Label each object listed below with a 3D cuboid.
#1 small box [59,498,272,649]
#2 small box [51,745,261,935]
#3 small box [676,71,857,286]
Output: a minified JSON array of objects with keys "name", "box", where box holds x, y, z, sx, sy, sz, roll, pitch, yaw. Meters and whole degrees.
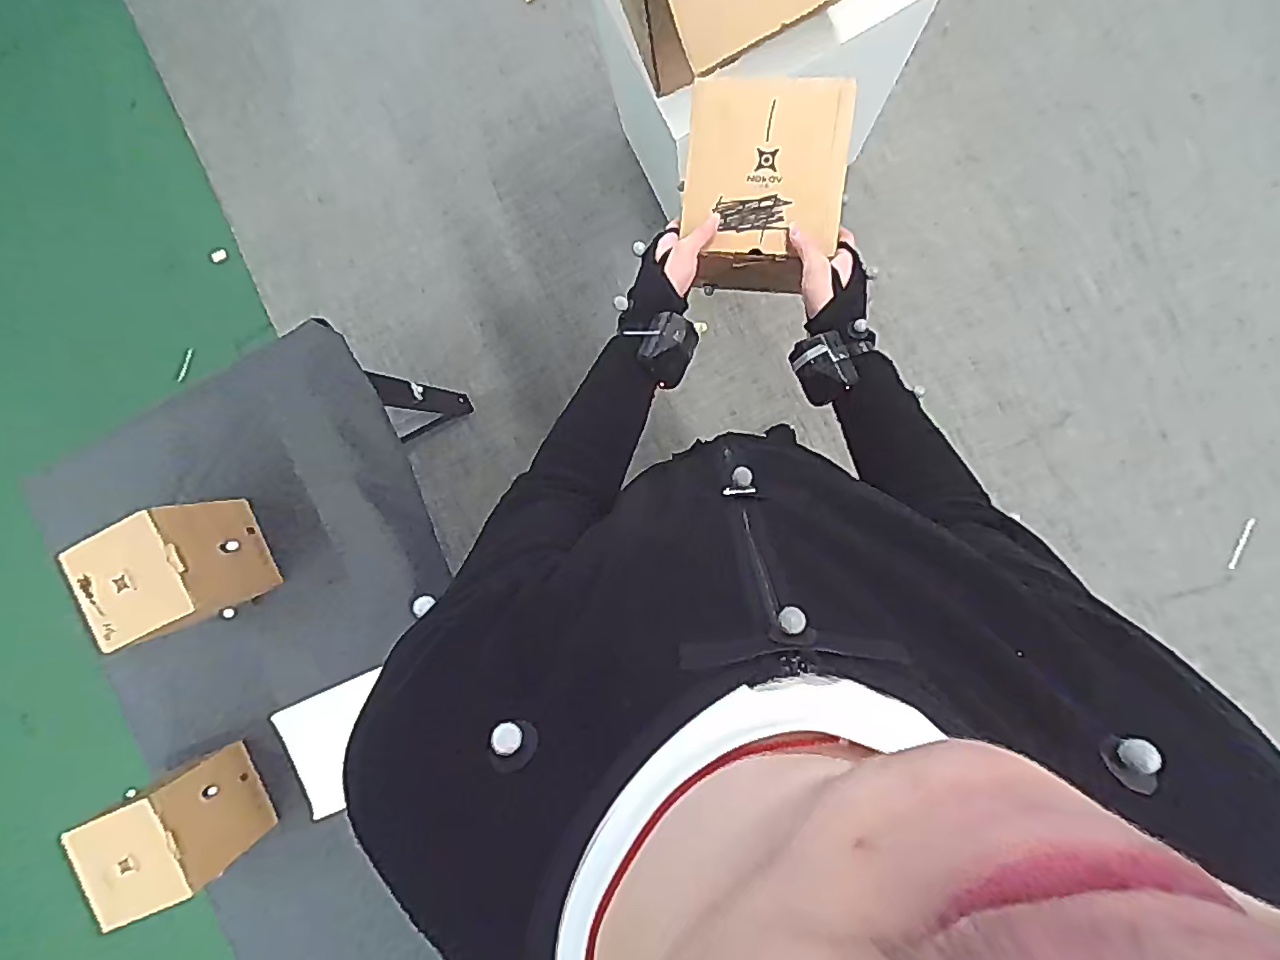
[{"name":"small box","box":[-0.738,0.138,0.867,0.179,0.176,0.168,-25,90,6]},{"name":"small box","box":[-0.765,0.570,0.879,0.179,0.176,0.168,-26,89,8]},{"name":"small box","box":[0.139,-0.336,0.636,0.168,0.176,0.179,6,97,7]}]
